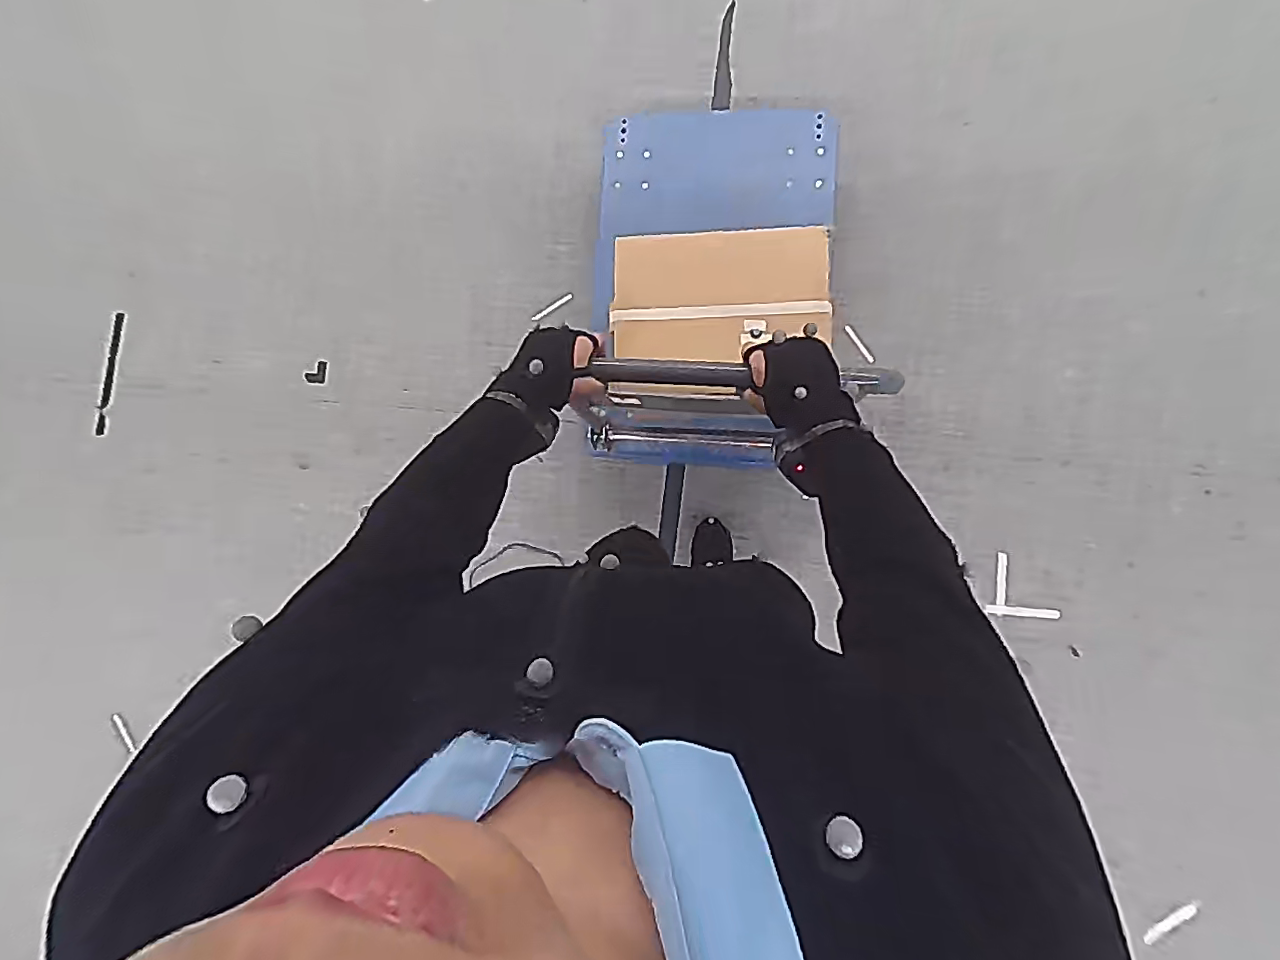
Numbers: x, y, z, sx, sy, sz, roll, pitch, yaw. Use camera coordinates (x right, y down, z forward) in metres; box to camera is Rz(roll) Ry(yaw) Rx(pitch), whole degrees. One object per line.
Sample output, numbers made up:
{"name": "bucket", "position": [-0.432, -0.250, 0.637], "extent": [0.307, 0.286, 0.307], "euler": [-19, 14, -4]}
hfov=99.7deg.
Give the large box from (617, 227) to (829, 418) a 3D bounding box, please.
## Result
{"name": "large box", "position": [0.168, -0.316, 1.182], "extent": [0.408, 0.320, 0.320], "euler": [0, 88, 6]}
